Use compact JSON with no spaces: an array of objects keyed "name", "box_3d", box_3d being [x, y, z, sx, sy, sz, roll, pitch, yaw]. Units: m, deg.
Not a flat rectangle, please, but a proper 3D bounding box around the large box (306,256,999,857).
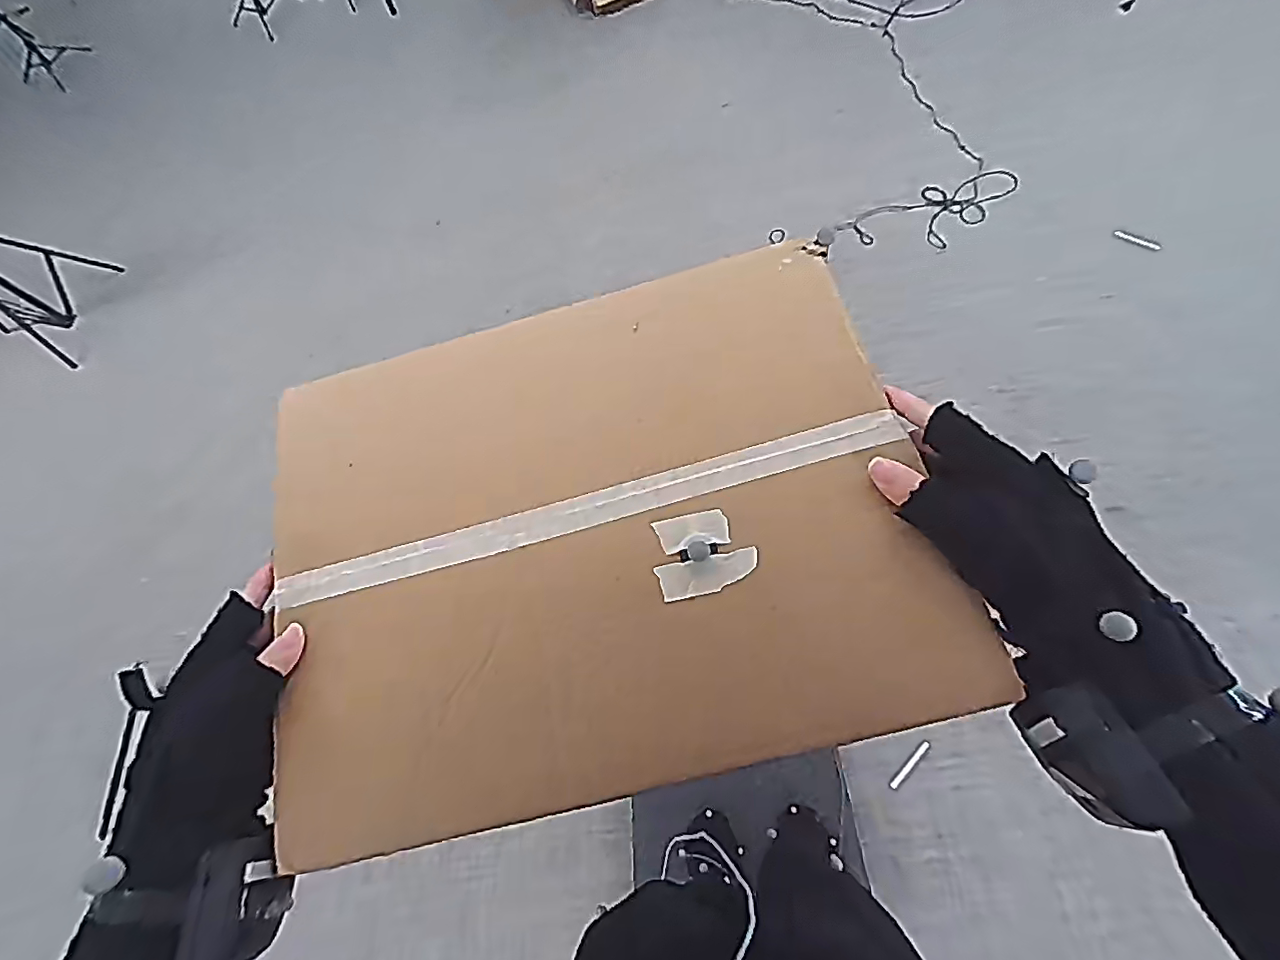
[{"name":"large box","box_3d":[-0.011,0.075,0.490,0.408,0.320,0.320,-15,69,3]}]
